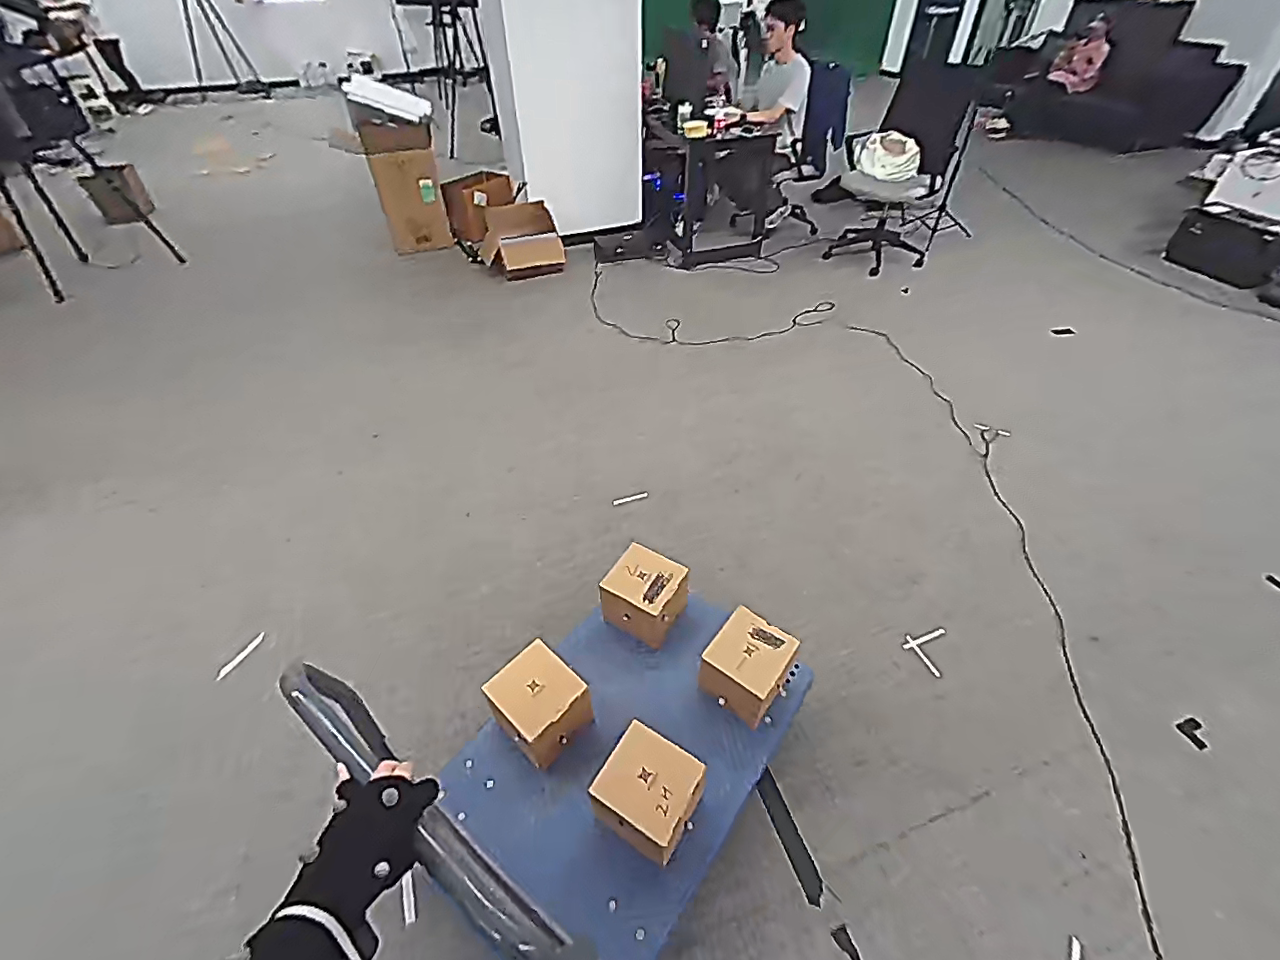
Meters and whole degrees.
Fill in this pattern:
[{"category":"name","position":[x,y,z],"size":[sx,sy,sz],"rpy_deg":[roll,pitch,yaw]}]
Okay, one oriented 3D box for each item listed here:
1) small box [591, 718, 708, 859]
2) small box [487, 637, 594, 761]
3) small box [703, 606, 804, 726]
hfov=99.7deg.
[{"category":"small box","position":[0.020,0.633,1.105],"size":[0.179,0.176,0.168],"rpy_deg":[25,50,24]},{"category":"small box","position":[-0.224,0.505,1.243],"size":[0.179,0.176,0.168],"rpy_deg":[34,54,28]},{"category":"small box","position":[0.263,0.444,1.293],"size":[0.168,0.176,0.179],"rpy_deg":[30,53,27]}]
